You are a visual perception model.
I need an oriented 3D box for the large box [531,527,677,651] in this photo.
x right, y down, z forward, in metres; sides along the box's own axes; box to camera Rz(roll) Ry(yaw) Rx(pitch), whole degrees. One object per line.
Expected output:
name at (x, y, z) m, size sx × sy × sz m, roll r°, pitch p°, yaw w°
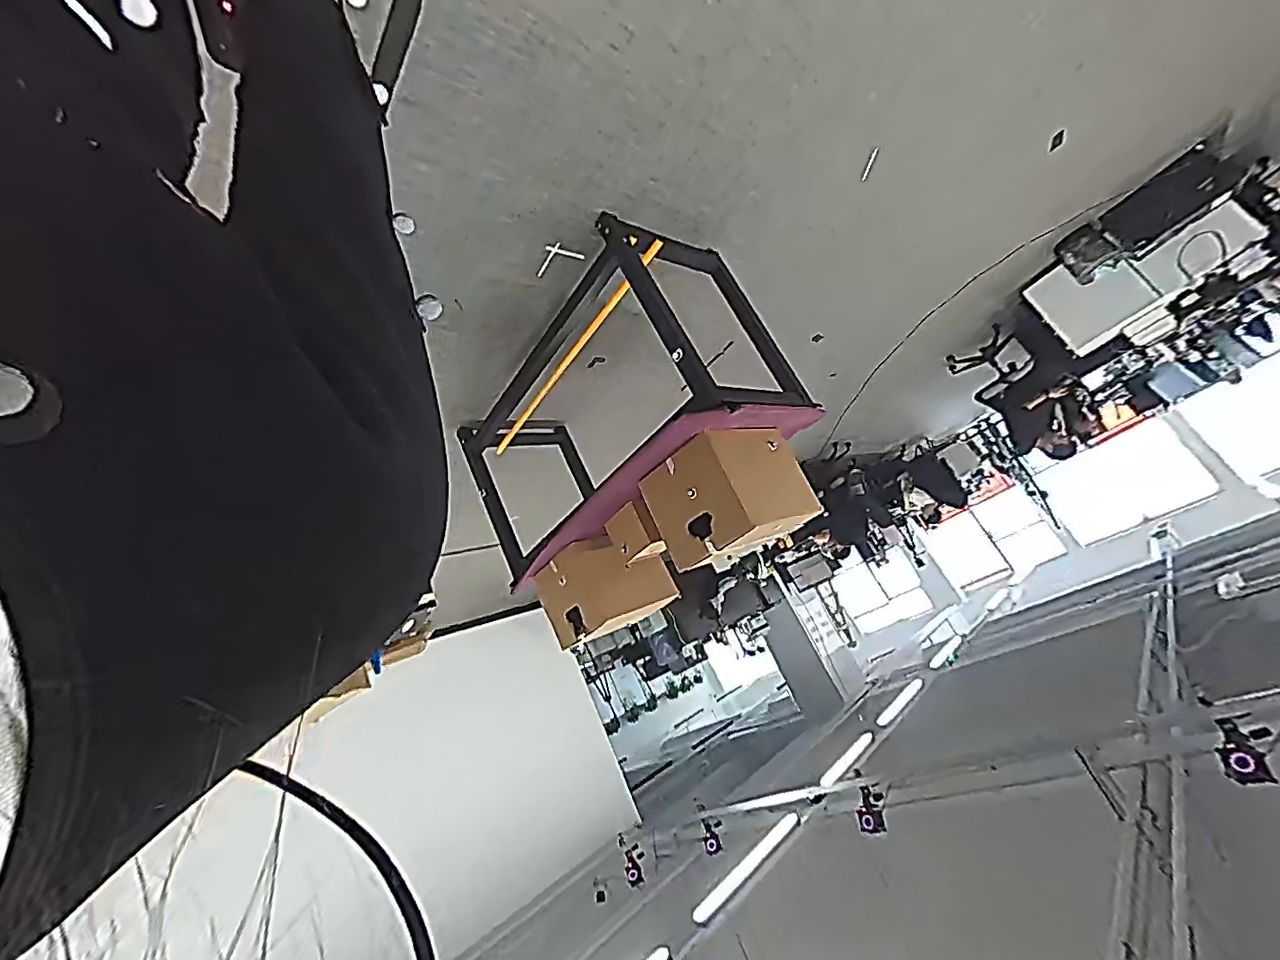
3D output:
large box at (-0.143, 0.413, 2.104) m, size 0.408 × 0.320 × 0.320 m, roll -8°, pitch 155°, yaw -47°
